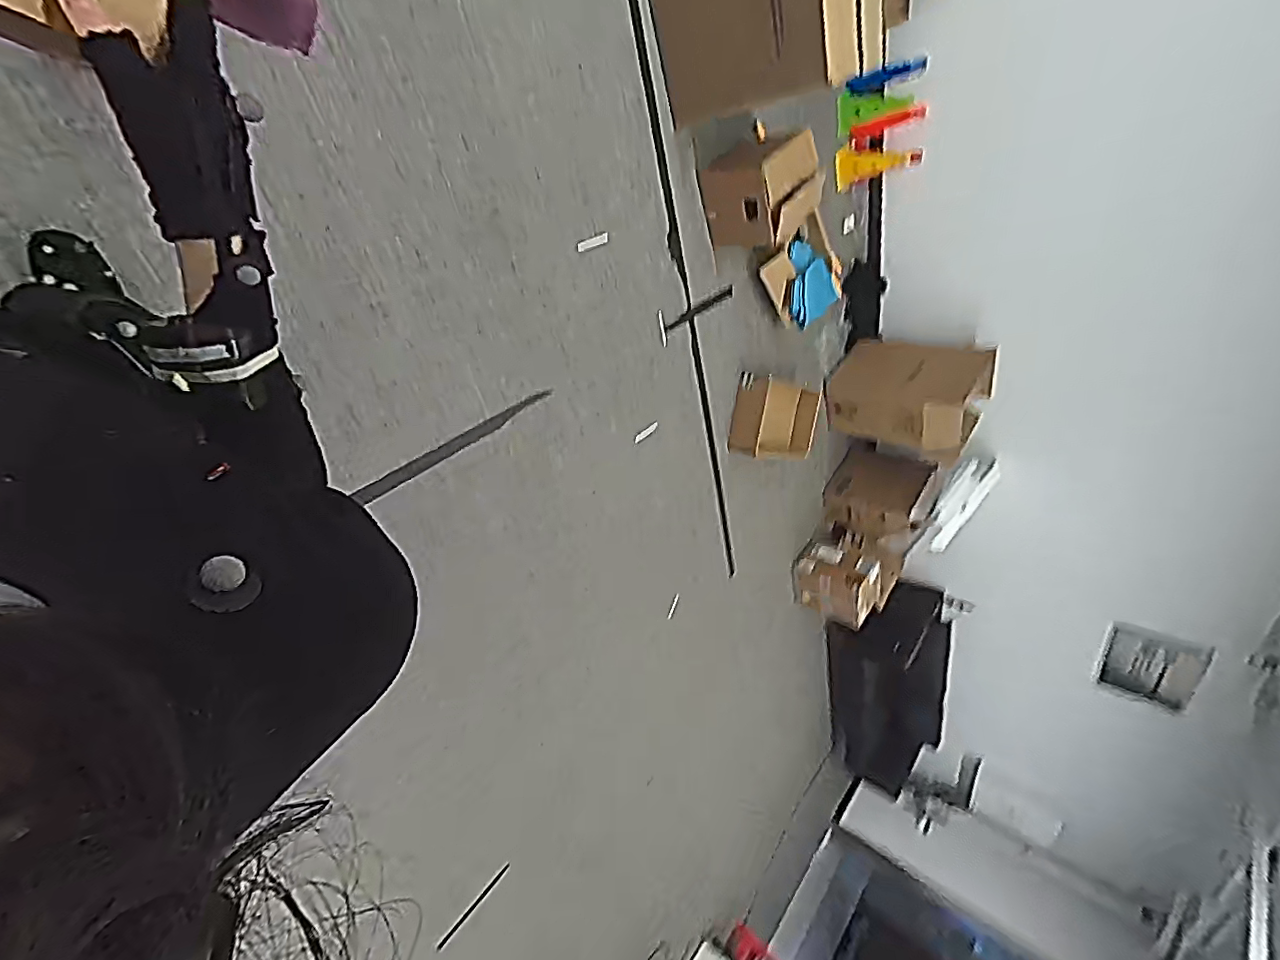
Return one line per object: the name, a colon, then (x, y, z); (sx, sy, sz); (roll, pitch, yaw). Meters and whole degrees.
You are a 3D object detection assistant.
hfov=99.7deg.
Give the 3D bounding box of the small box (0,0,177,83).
small box: (-0.359, -0.342, 0.263); (0.168, 0.176, 0.179); (-7, 120, -62)
